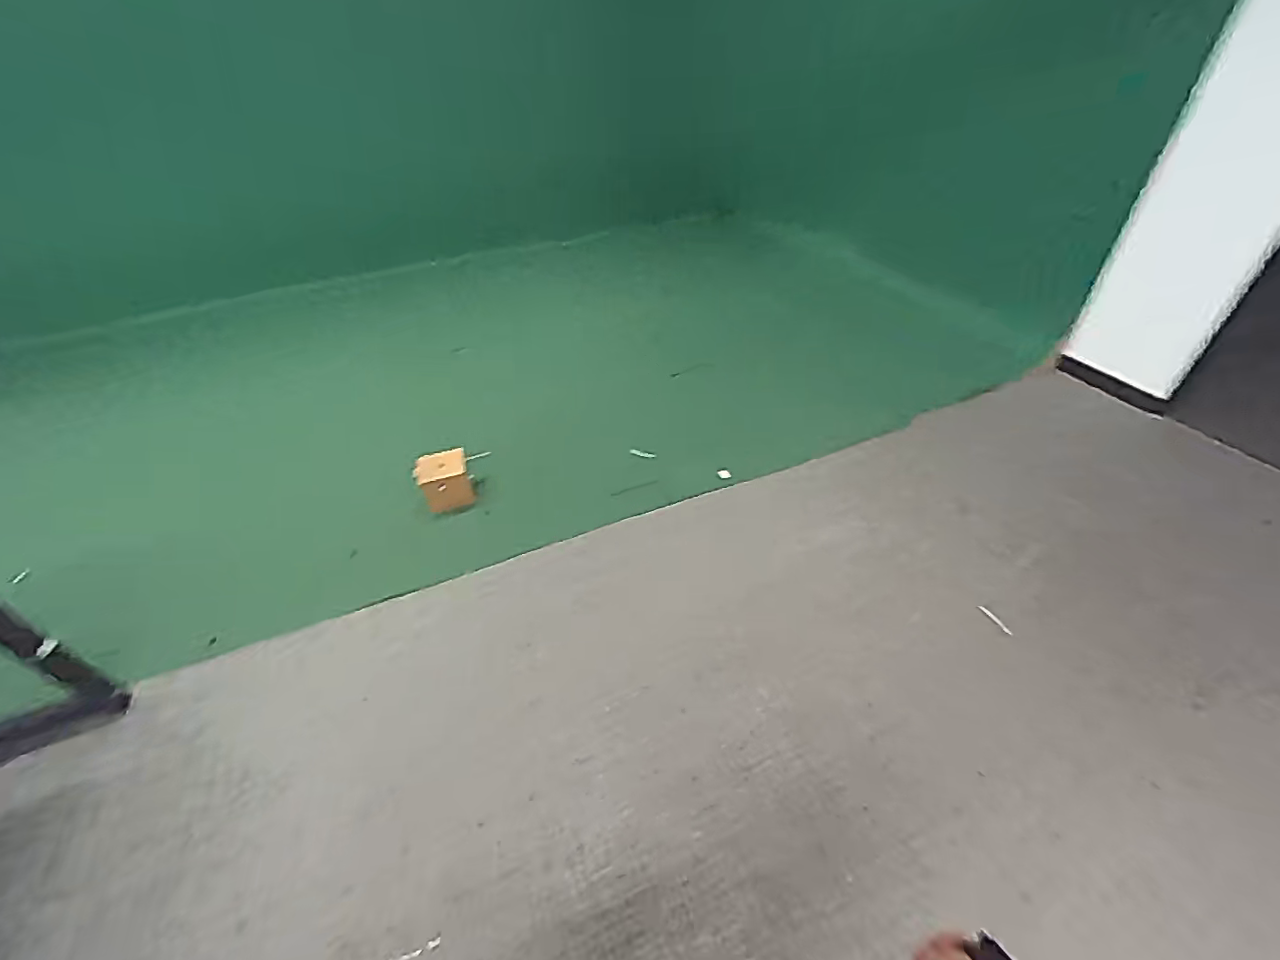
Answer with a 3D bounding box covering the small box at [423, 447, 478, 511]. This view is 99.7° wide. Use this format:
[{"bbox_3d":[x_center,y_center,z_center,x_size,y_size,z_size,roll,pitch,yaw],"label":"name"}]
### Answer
[{"bbox_3d":[-0.756,-0.002,2.170,0.179,0.176,0.168,-14,44,-11],"label":"small box"}]
